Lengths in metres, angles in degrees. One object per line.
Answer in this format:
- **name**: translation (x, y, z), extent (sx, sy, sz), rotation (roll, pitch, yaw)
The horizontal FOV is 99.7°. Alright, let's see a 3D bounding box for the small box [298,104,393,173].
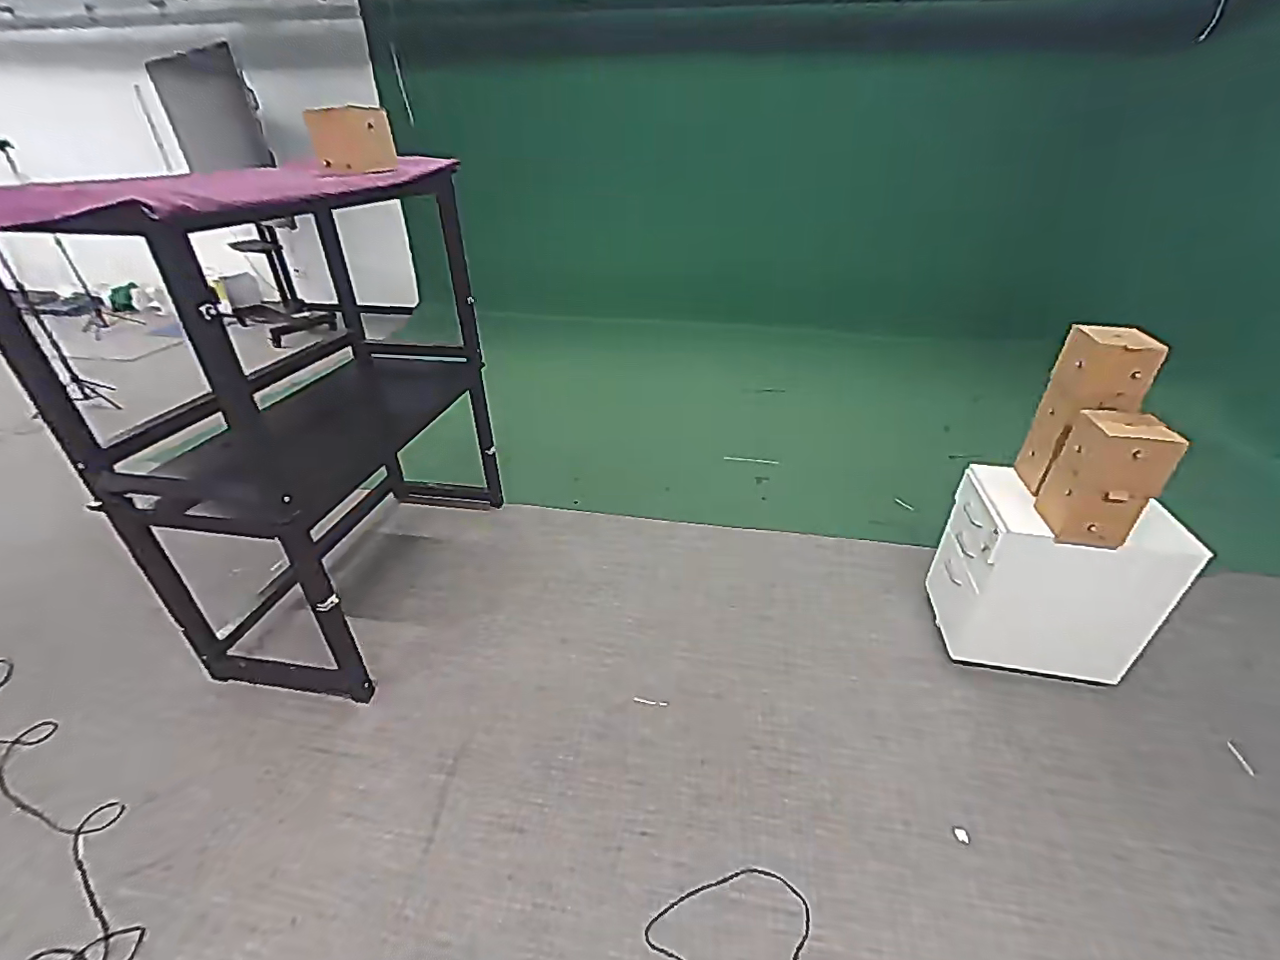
- **small box**: translation (-0.890, -1.043, 1.657), extent (0.168, 0.176, 0.179), rotation (4, 33, 11)

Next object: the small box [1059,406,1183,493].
- **small box**: translation (1.268, -0.082, 1.447), extent (0.179, 0.176, 0.168), rotation (8, 34, 10)

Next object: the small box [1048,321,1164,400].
- **small box**: translation (1.322, -0.342, 1.550), extent (0.168, 0.176, 0.179), rotation (8, 34, 9)

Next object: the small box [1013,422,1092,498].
- **small box**: translation (1.331, -0.065, 1.725), extent (0.168, 0.176, 0.179), rotation (6, 35, 9)
